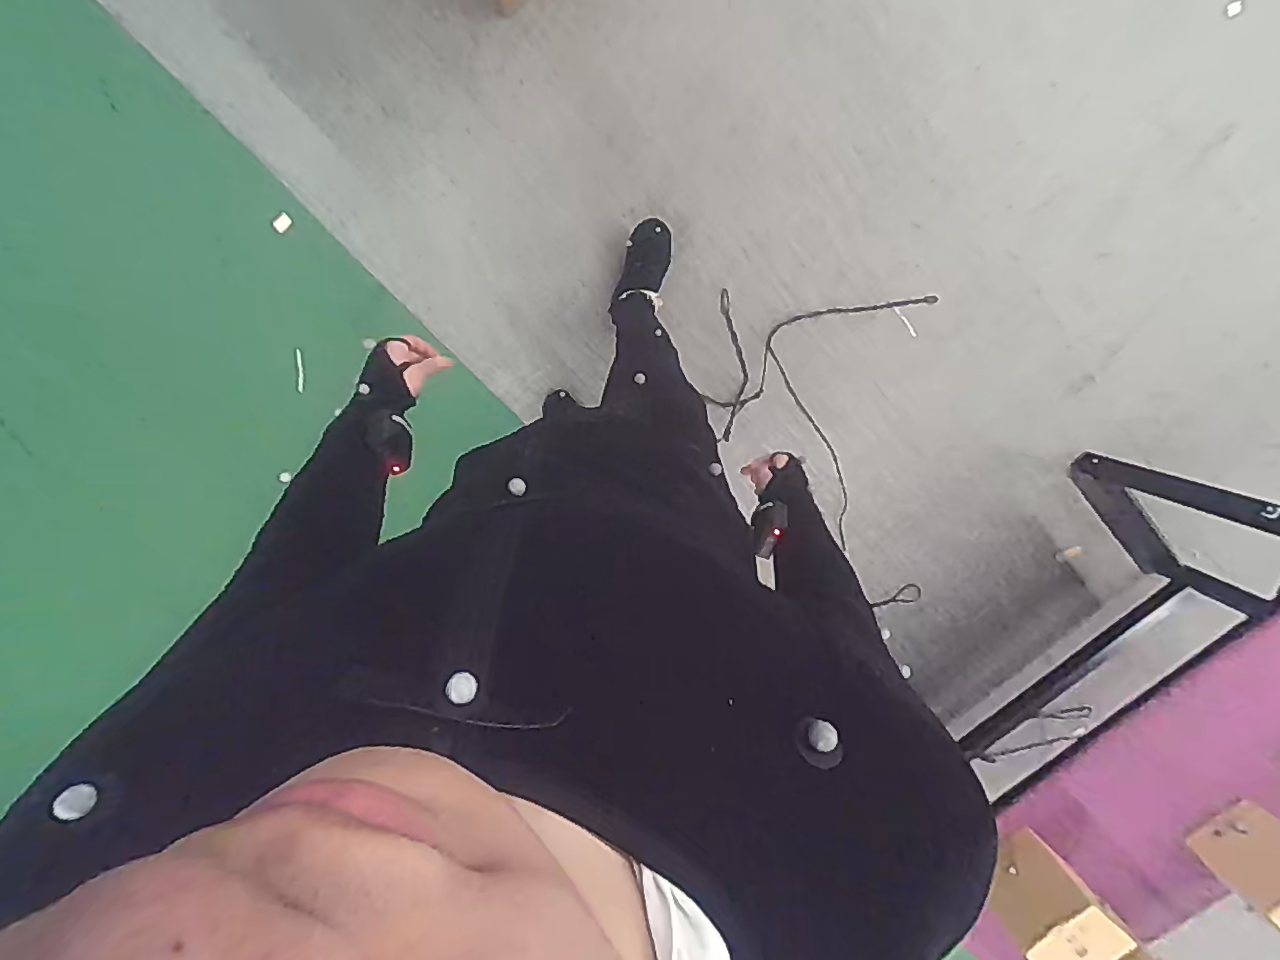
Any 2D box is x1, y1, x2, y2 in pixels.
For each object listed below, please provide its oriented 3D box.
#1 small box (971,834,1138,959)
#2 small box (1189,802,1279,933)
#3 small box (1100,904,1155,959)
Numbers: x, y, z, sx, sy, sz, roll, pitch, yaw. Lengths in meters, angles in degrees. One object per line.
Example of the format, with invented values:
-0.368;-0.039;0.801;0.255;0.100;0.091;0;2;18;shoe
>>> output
0.833;0.874;1.101;0.179;0.176;0.168;43;98;-14;small box
1.324;0.819;1.121;0.179;0.176;0.168;43;99;-13;small box
1.046;1.084;1.181;0.168;0.176;0.179;-43;105;8;small box
